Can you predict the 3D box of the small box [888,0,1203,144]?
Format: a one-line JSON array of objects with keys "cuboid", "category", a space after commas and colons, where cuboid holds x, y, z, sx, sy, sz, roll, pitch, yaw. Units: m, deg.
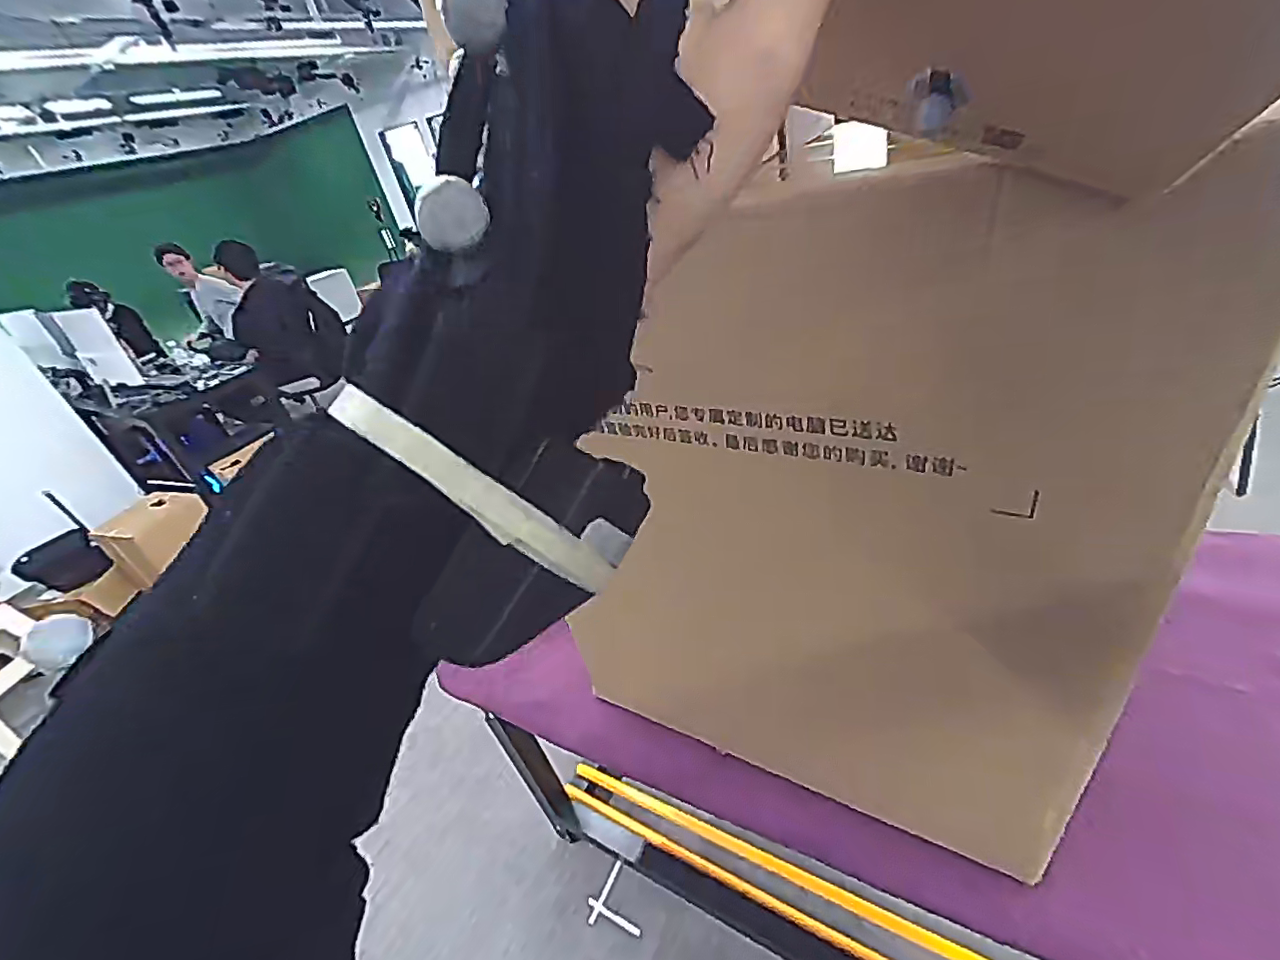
[{"cuboid": [0.284, -0.366, 0.389, 0.179, 0.176, 0.168, 4, 37, 29], "category": "small box"}]
